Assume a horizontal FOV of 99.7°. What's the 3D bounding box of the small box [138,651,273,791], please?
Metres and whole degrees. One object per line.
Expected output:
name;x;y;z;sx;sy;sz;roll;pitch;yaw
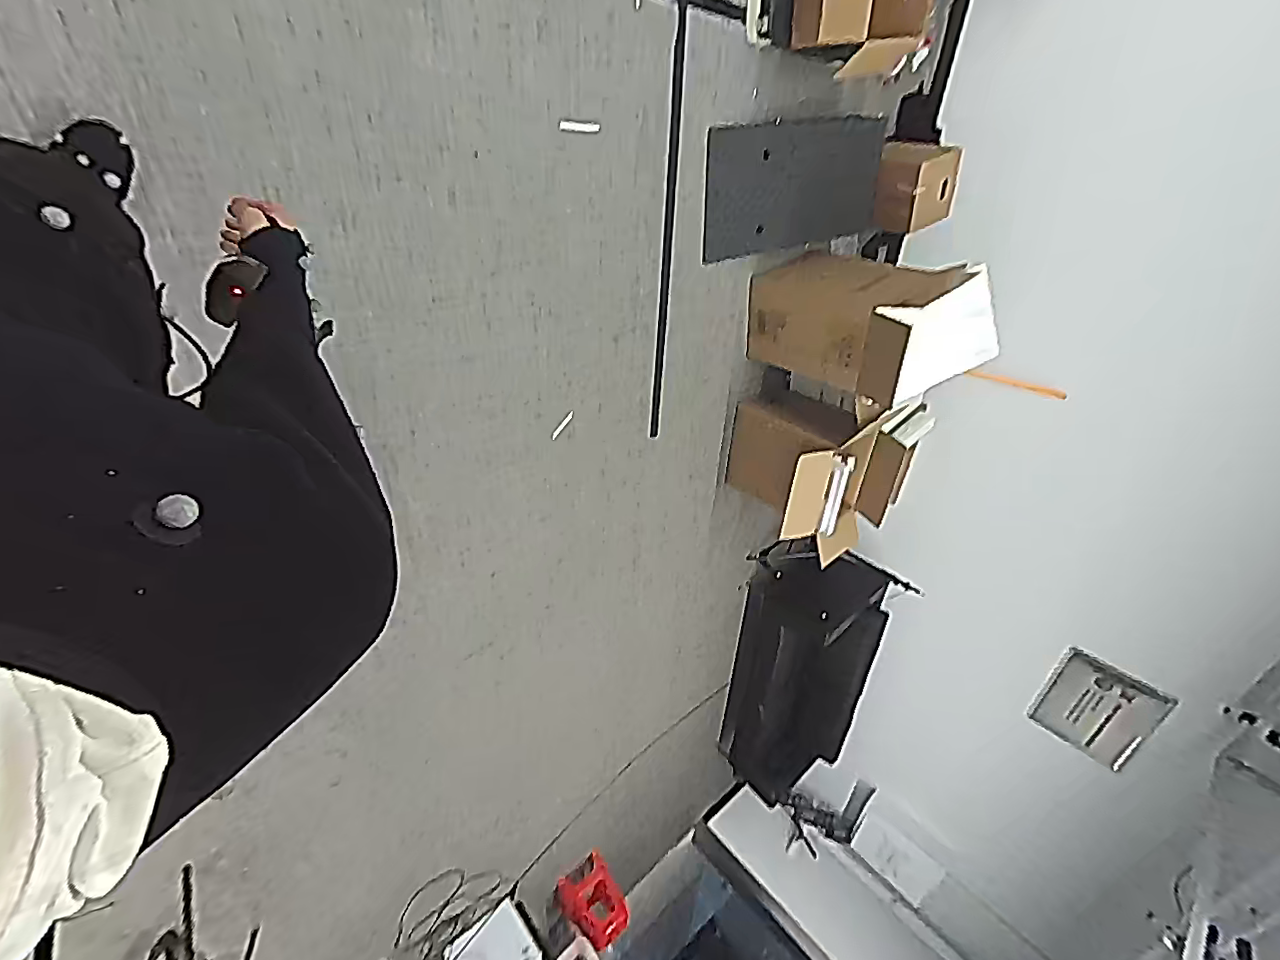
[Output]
small box;-0.937;0.511;1.166;0.179;0.176;0.168;-29;134;-33
